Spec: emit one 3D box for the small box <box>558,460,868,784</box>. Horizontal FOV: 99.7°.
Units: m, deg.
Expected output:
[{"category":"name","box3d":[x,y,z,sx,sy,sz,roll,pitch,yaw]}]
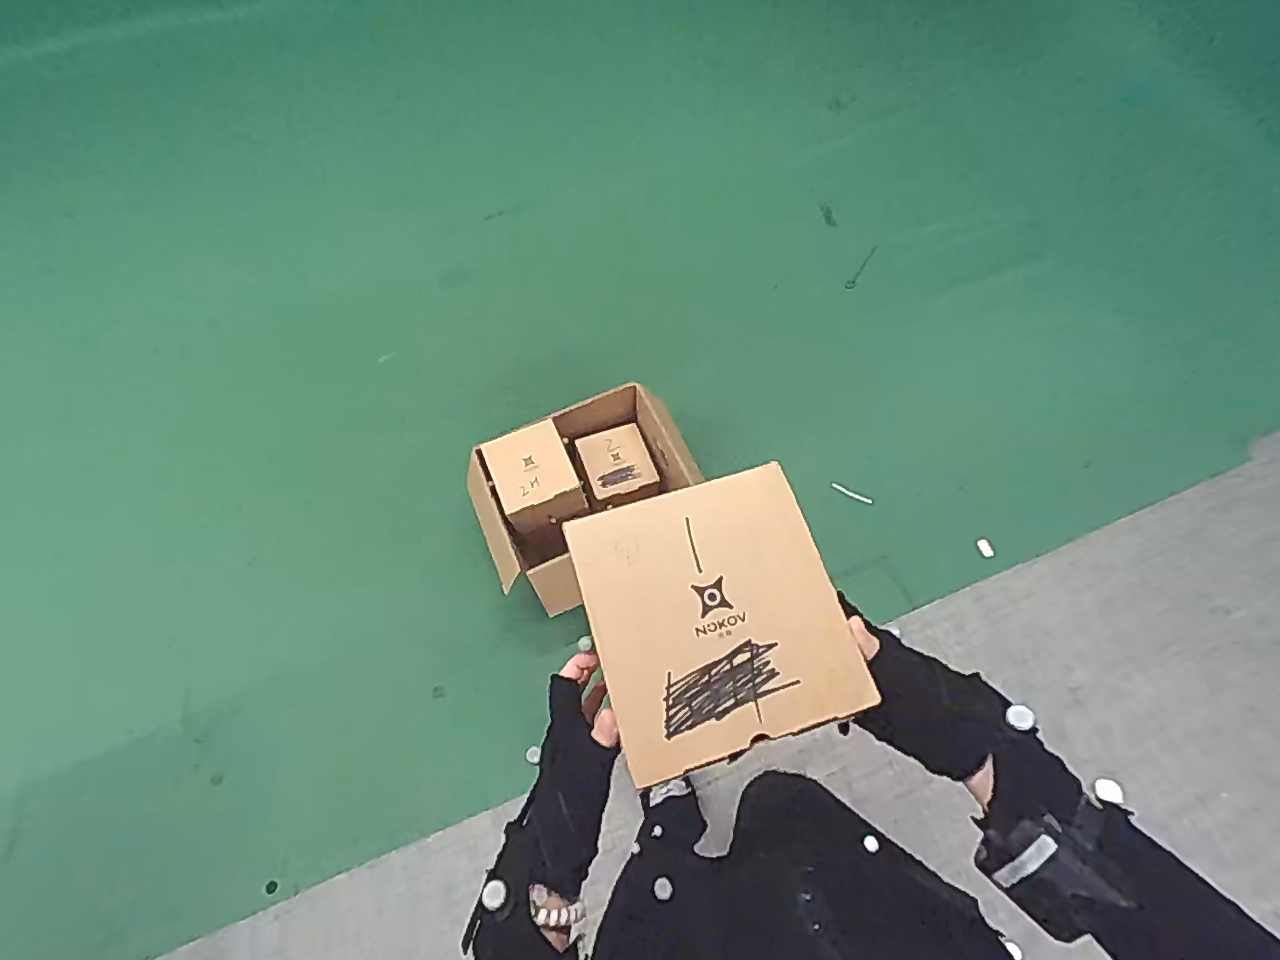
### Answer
[{"category":"small box","box3d":[0.043,0.109,0.434,0.168,0.176,0.179,-16,72,-7]}]
